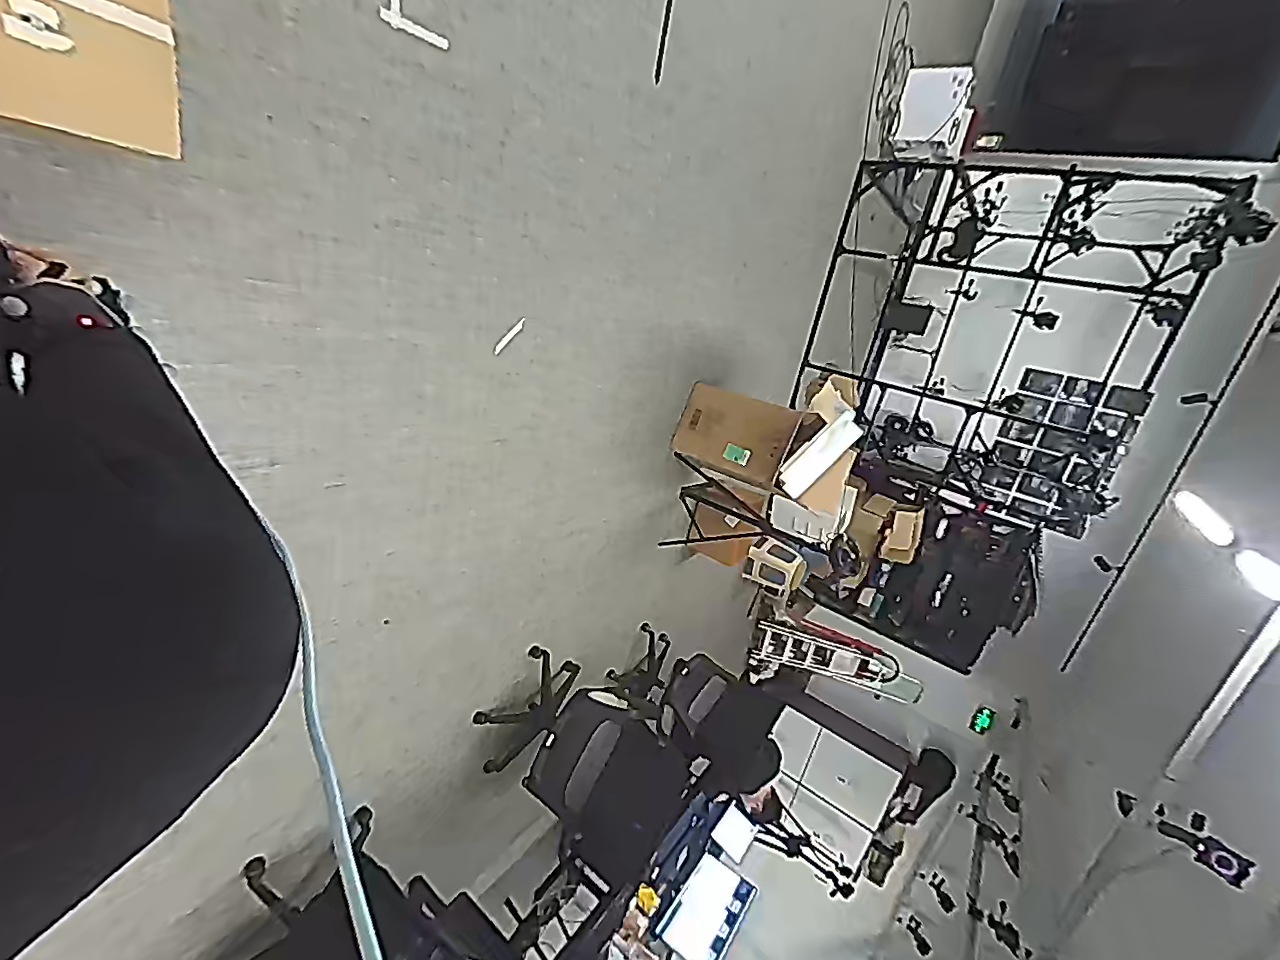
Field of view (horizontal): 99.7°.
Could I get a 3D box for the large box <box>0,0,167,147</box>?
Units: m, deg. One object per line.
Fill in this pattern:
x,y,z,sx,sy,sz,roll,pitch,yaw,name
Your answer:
-0.890,-0.635,0.646,0.408,0.320,0.320,-17,125,-55,large box
